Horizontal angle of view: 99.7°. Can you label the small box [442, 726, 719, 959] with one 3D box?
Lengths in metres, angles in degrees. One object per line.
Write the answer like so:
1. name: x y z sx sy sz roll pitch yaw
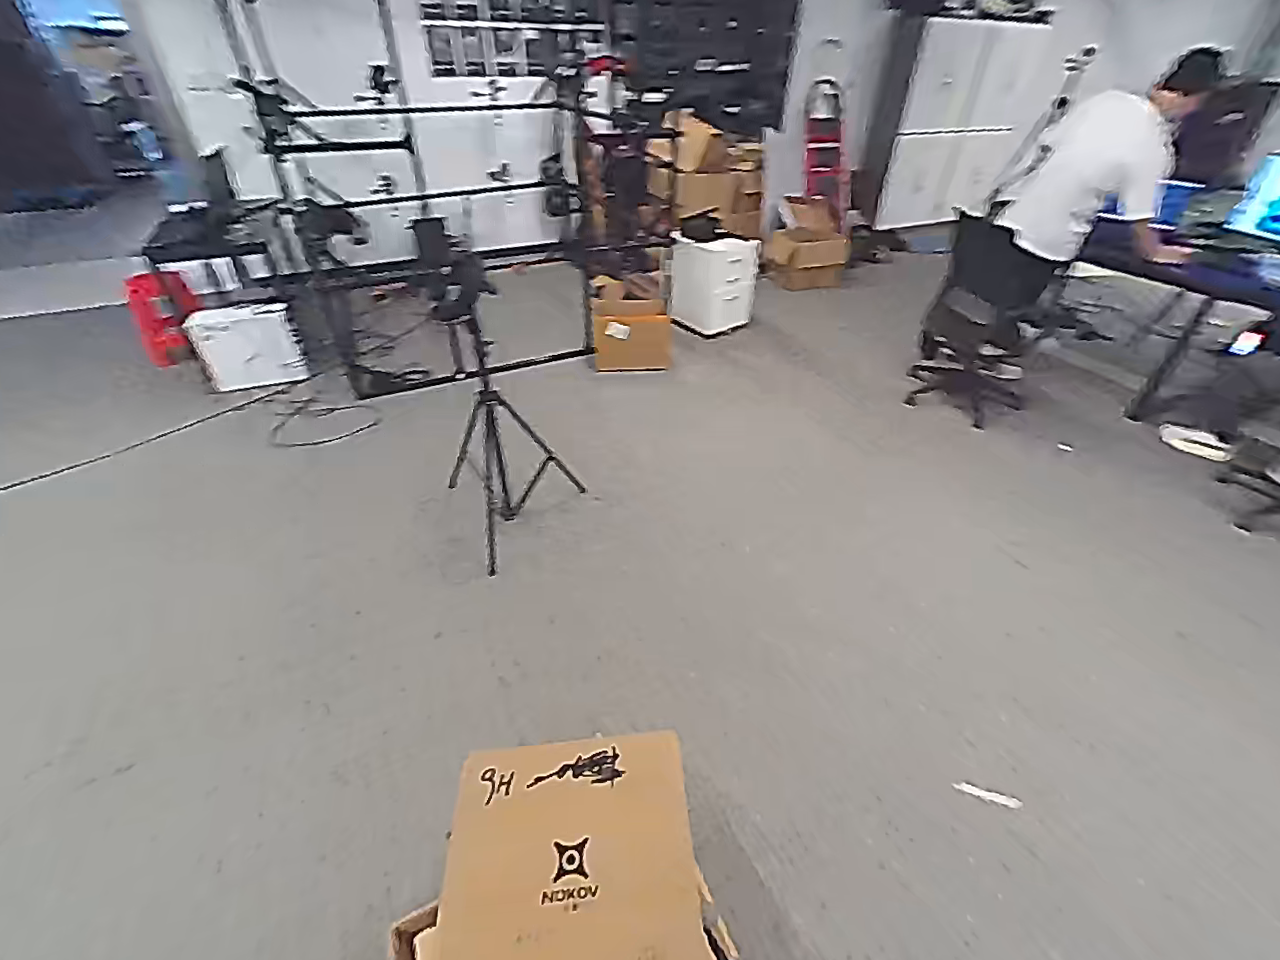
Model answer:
1. small box: -0.032 0.309 0.396 0.168 0.176 0.179 -6 42 -1
